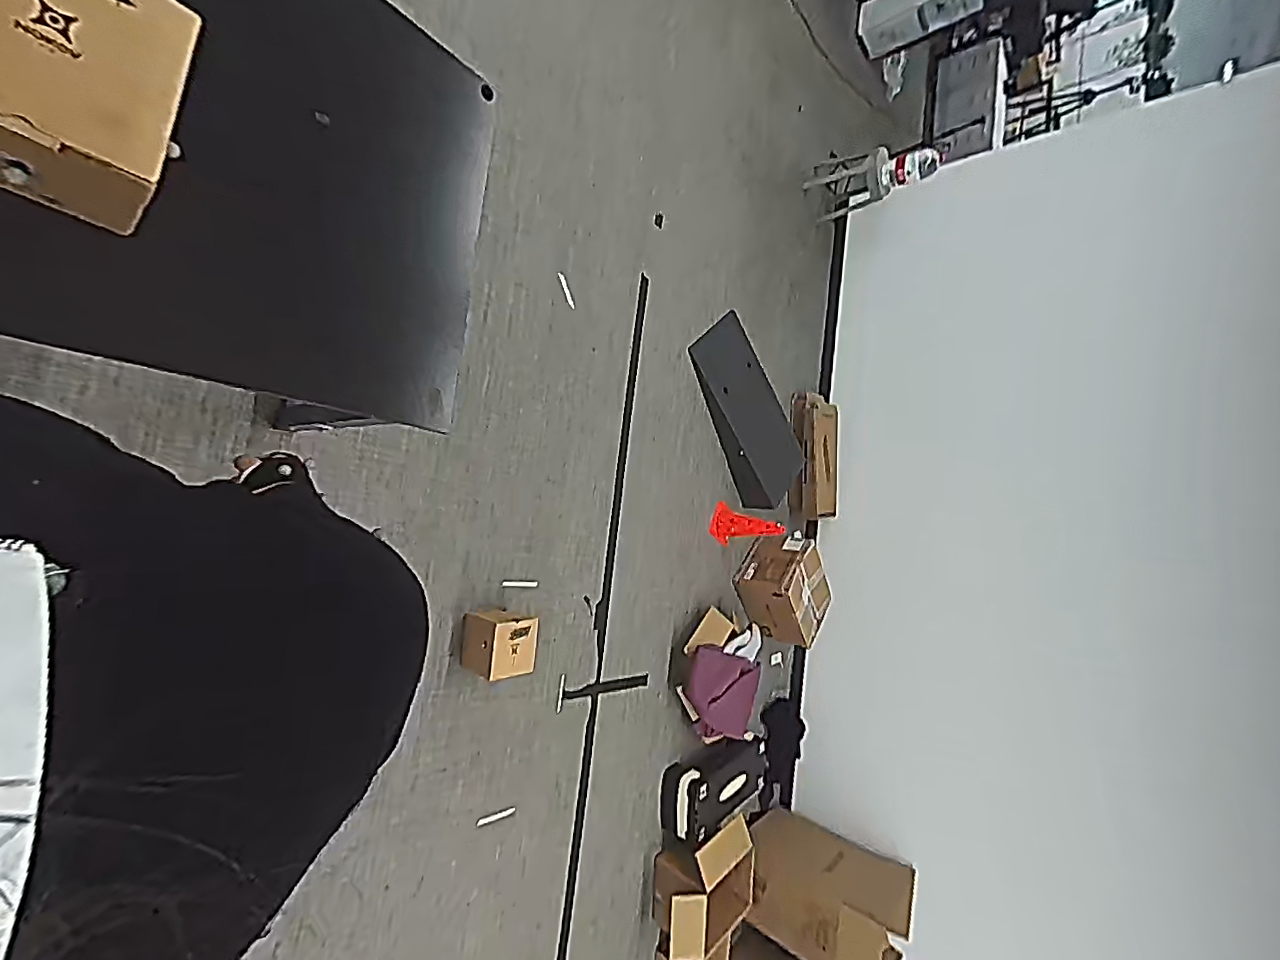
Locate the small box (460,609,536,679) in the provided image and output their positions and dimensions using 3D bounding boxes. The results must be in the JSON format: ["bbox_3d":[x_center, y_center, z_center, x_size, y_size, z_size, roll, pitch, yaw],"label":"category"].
[{"bbox_3d":[-0.459,0.519,1.741,0.168,0.176,0.179,9,86,-49],"label":"small box"}]
